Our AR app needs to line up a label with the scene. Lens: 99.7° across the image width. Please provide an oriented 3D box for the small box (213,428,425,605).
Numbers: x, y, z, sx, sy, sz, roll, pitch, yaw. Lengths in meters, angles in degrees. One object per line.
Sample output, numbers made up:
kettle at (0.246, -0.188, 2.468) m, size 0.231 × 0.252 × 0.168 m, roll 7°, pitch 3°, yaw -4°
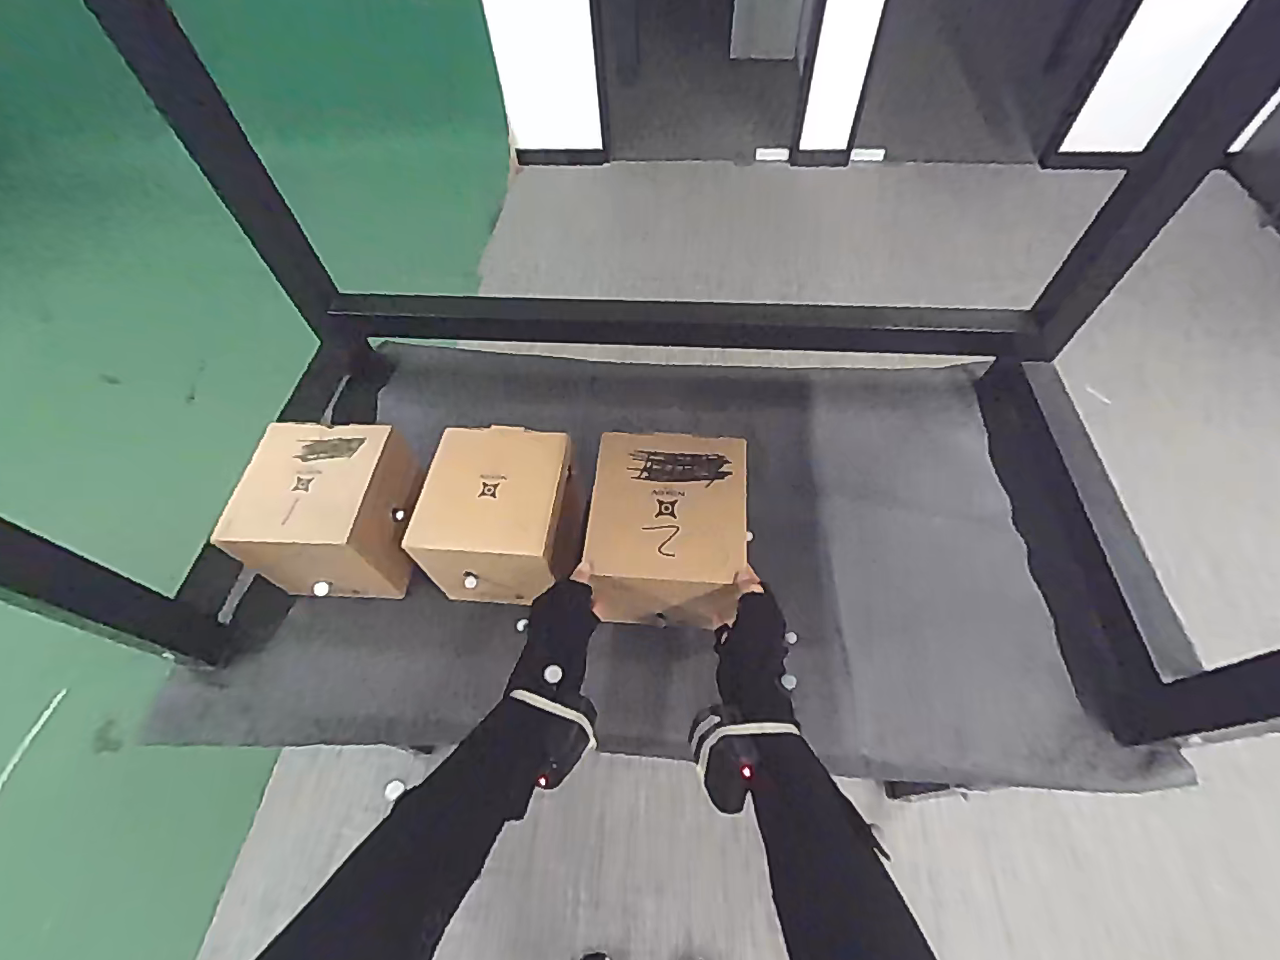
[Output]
small box at (-0.402, 0.051, 0.726) m, size 0.168 × 0.176 × 0.179 m, roll 1°, pitch 56°, yaw 4°

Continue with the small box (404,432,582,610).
small box at (-0.175, 0.059, 0.714) m, size 0.168 × 0.176 × 0.179 m, roll 3°, pitch 55°, yaw 4°
